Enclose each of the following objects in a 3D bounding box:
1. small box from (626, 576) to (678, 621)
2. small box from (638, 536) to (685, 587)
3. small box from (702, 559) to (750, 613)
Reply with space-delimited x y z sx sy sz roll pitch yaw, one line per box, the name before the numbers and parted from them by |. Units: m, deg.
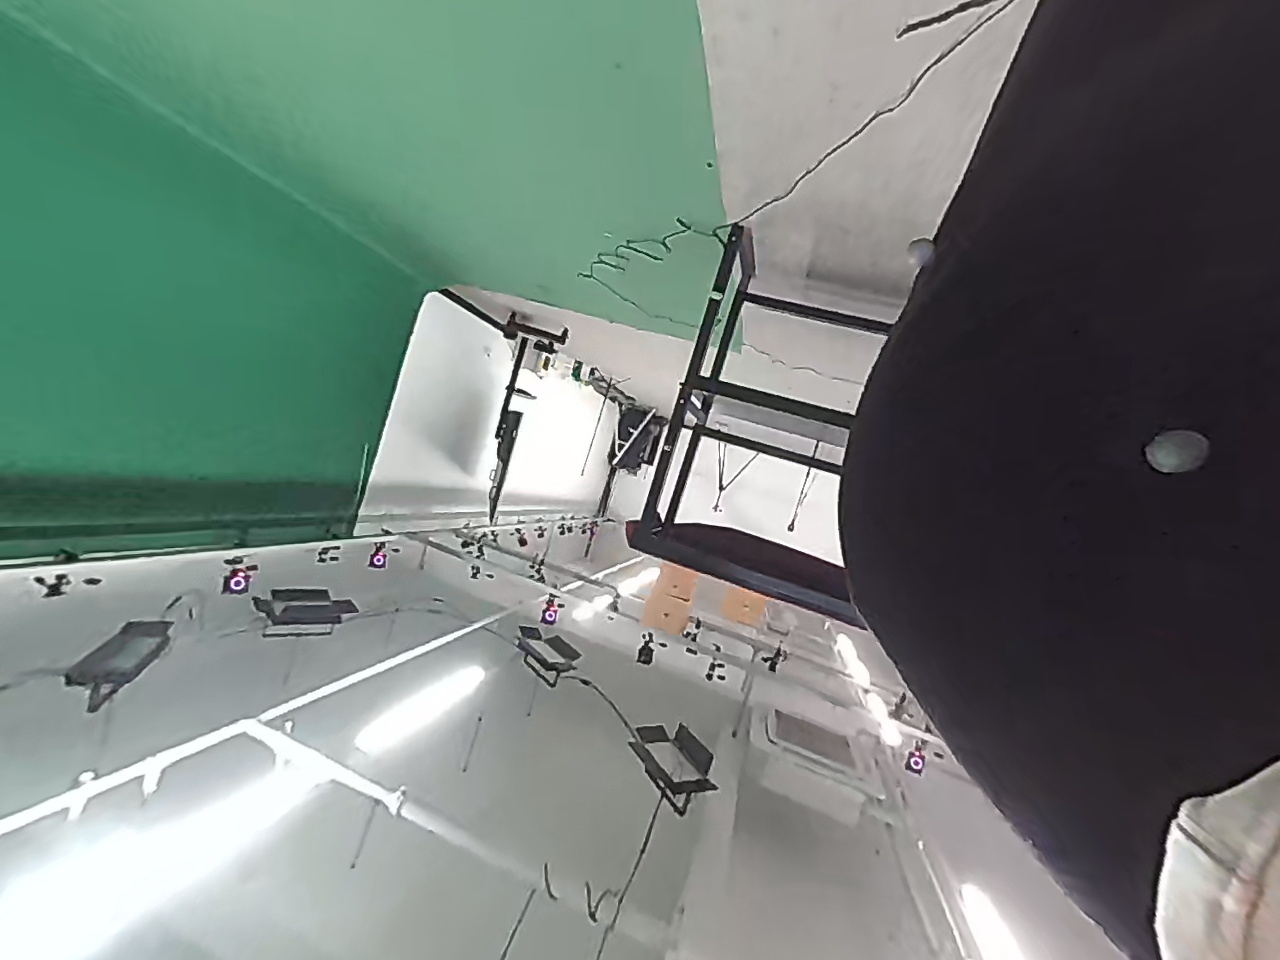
small box | 0.059 0.528 2.493 0.179 0.176 0.168 16 -177 16
small box | 0.105 0.371 2.484 0.179 0.176 0.168 17 -176 9
small box | 0.388 0.465 2.404 0.179 0.176 0.168 17 -177 11
